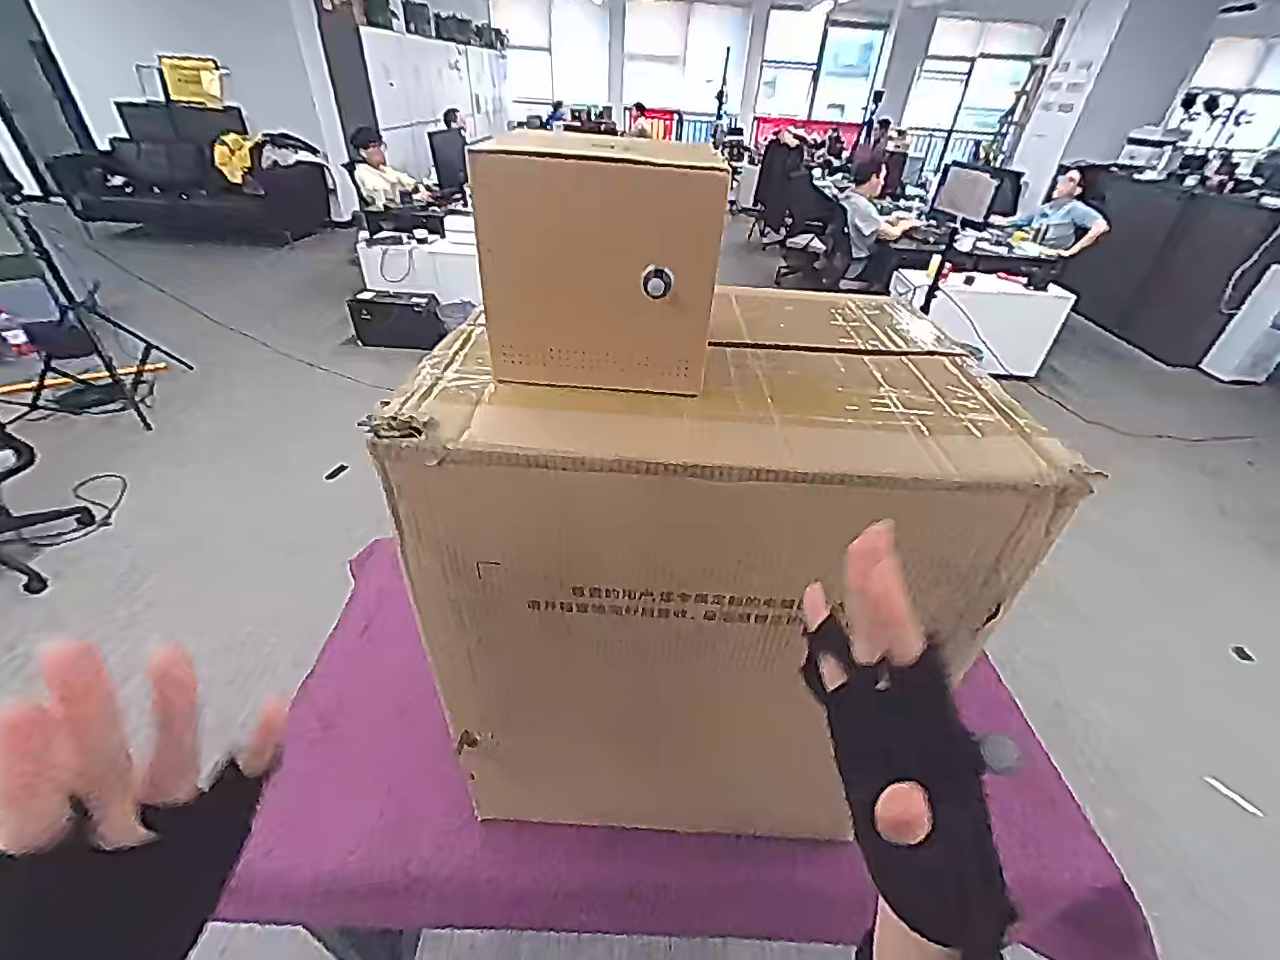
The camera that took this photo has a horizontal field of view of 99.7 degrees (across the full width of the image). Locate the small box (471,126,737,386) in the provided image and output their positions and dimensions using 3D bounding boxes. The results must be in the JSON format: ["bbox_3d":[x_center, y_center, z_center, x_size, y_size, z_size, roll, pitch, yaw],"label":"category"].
[{"bbox_3d":[-0.025,-0.190,0.460,0.179,0.176,0.168,3,36,-1],"label":"small box"}]
